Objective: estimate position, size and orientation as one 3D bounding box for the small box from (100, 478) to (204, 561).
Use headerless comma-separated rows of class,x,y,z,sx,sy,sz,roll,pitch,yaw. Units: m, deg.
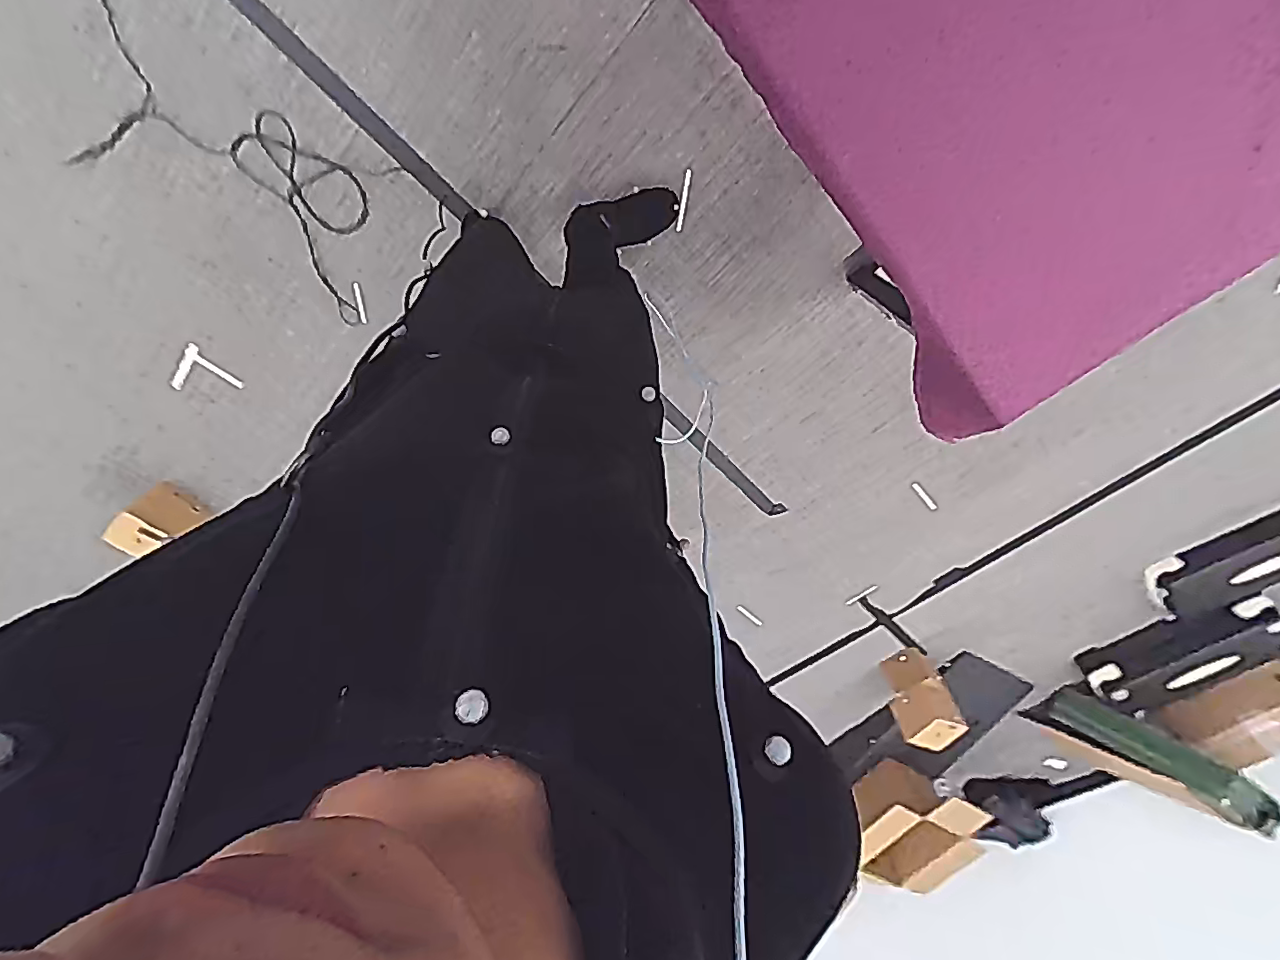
small box,-1.584,0.125,1.769,0.179,0.176,0.168,-35,118,22
